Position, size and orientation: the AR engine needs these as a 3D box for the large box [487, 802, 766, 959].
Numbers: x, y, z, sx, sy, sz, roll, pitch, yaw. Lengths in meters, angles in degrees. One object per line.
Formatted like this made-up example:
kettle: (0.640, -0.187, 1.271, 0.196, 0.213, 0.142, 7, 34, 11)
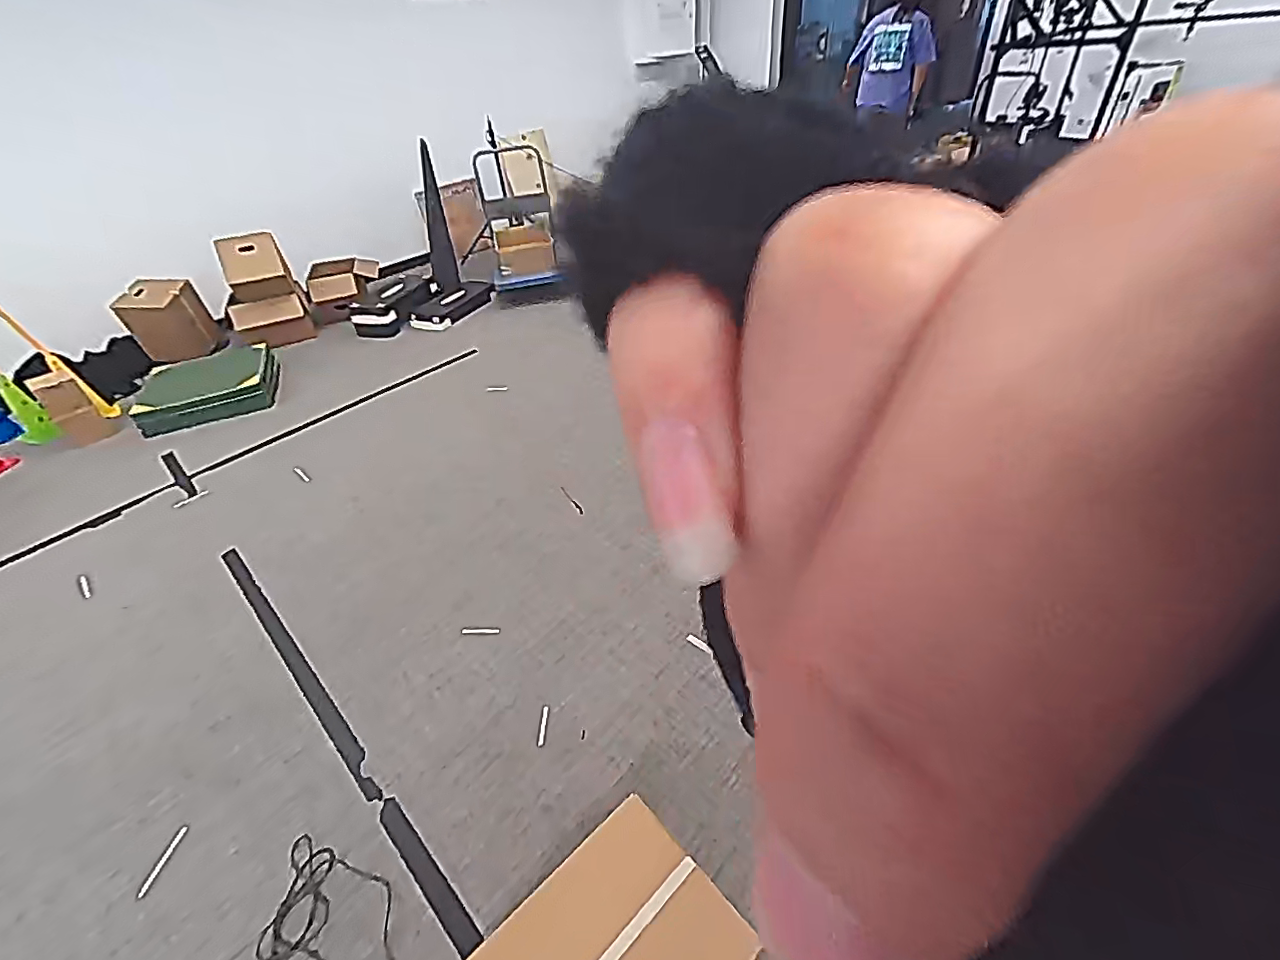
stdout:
large box: (-0.031, 0.879, 0.929, 0.408, 0.320, 0.320, -33, 44, -29)
